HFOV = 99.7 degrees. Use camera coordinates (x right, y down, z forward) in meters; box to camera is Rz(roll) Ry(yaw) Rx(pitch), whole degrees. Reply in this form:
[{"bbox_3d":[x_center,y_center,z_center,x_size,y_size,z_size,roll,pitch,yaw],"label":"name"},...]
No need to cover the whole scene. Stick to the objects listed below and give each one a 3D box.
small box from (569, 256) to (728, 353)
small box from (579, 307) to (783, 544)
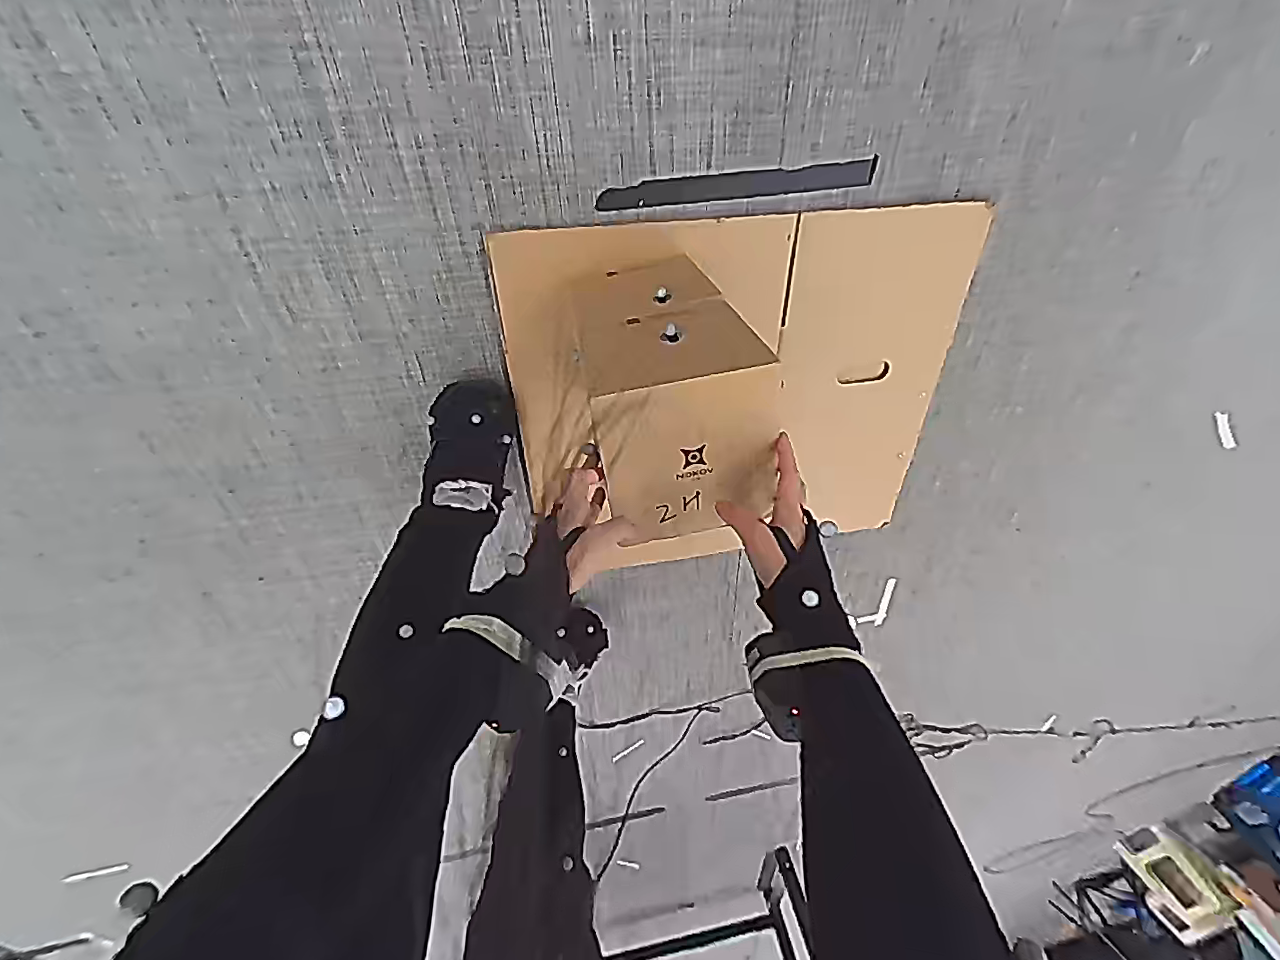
[{"bbox_3d":[0.010,-0.162,0.689,0.168,0.176,0.179,-13,129,-3],"label":"small box"},{"bbox_3d":[0.036,-0.065,0.558,0.168,0.176,0.179,-11,128,-4],"label":"small box"}]
